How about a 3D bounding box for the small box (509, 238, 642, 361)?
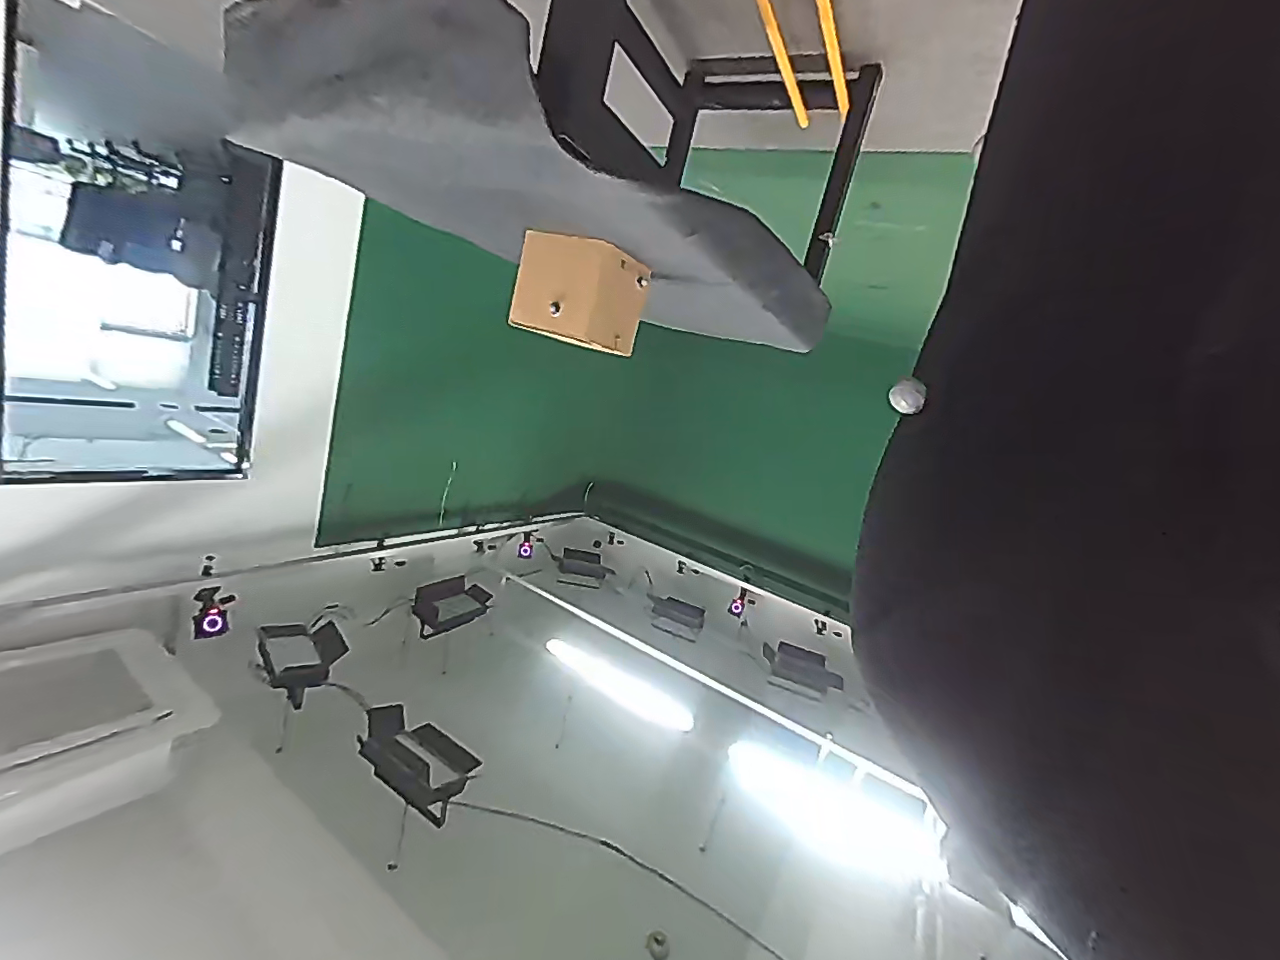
[{"bbox_3d":[-0.111,-0.333,1.004,0.179,0.176,0.168,21,-170,25],"label":"small box"}]
